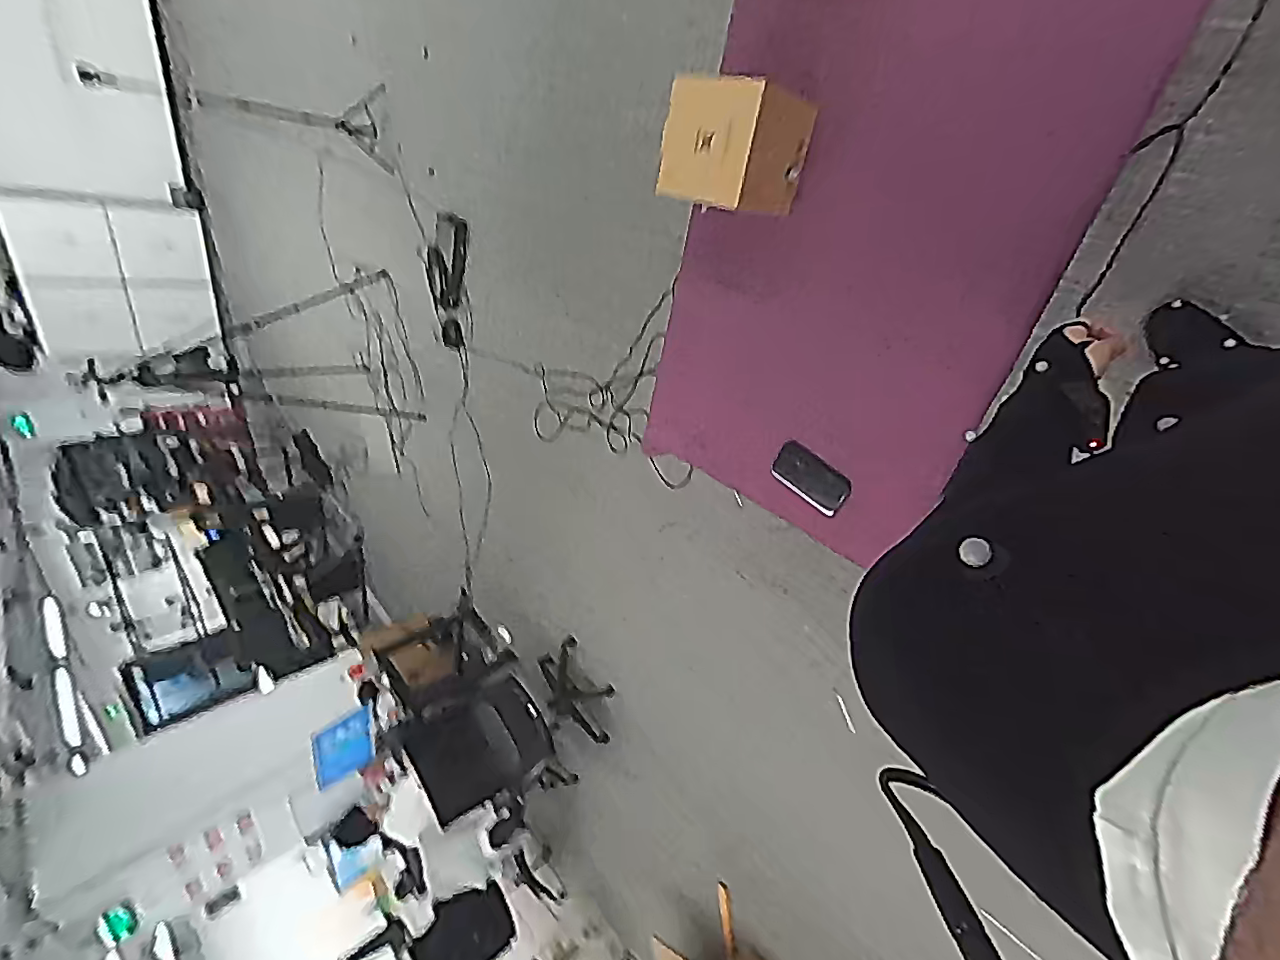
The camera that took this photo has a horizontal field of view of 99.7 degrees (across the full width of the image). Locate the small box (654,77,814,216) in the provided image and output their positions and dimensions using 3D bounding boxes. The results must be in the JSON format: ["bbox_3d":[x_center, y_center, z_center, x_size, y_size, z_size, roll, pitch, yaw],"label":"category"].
[{"bbox_3d":[0.153,-0.542,0.892,0.179,0.176,0.168,32,125,33],"label":"small box"}]
